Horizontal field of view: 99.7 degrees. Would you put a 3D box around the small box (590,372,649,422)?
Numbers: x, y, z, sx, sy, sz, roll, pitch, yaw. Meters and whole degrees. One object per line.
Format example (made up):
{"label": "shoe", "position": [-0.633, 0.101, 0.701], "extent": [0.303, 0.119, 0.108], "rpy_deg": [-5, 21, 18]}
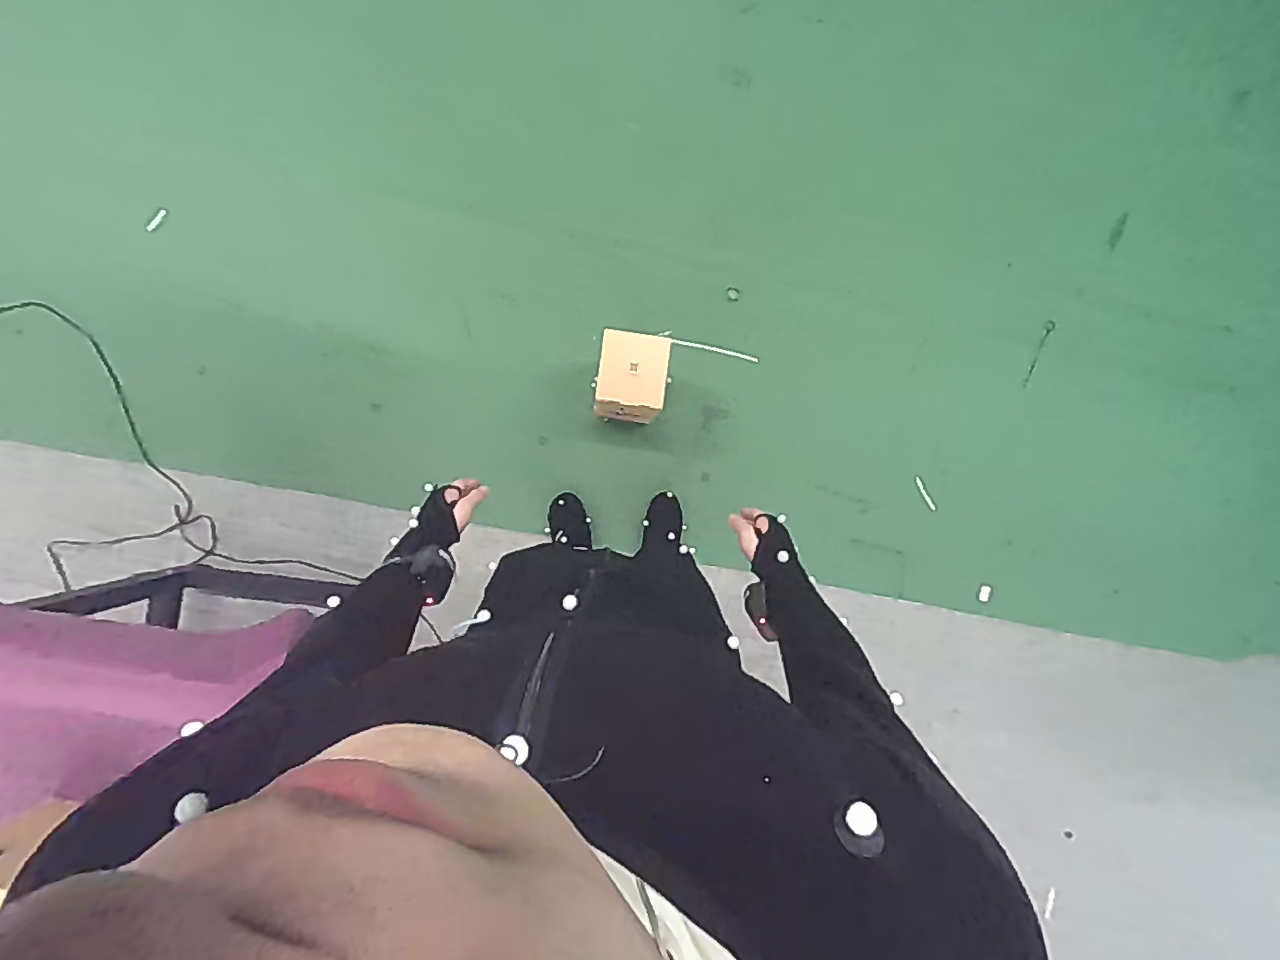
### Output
{"label": "small box", "position": [-0.046, -0.267, 1.540], "extent": [0.168, 0.176, 0.179], "rpy_deg": [8, 90, -4]}

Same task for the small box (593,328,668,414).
{"label": "small box", "position": [-0.030, -0.271, 1.378], "extent": [0.168, 0.176, 0.179], "rpy_deg": [7, 91, -5]}

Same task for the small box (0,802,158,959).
{"label": "small box", "position": [-0.857, 0.594, 0.773], "extent": [0.179, 0.176, 0.168], "rpy_deg": [10, 92, -4]}
